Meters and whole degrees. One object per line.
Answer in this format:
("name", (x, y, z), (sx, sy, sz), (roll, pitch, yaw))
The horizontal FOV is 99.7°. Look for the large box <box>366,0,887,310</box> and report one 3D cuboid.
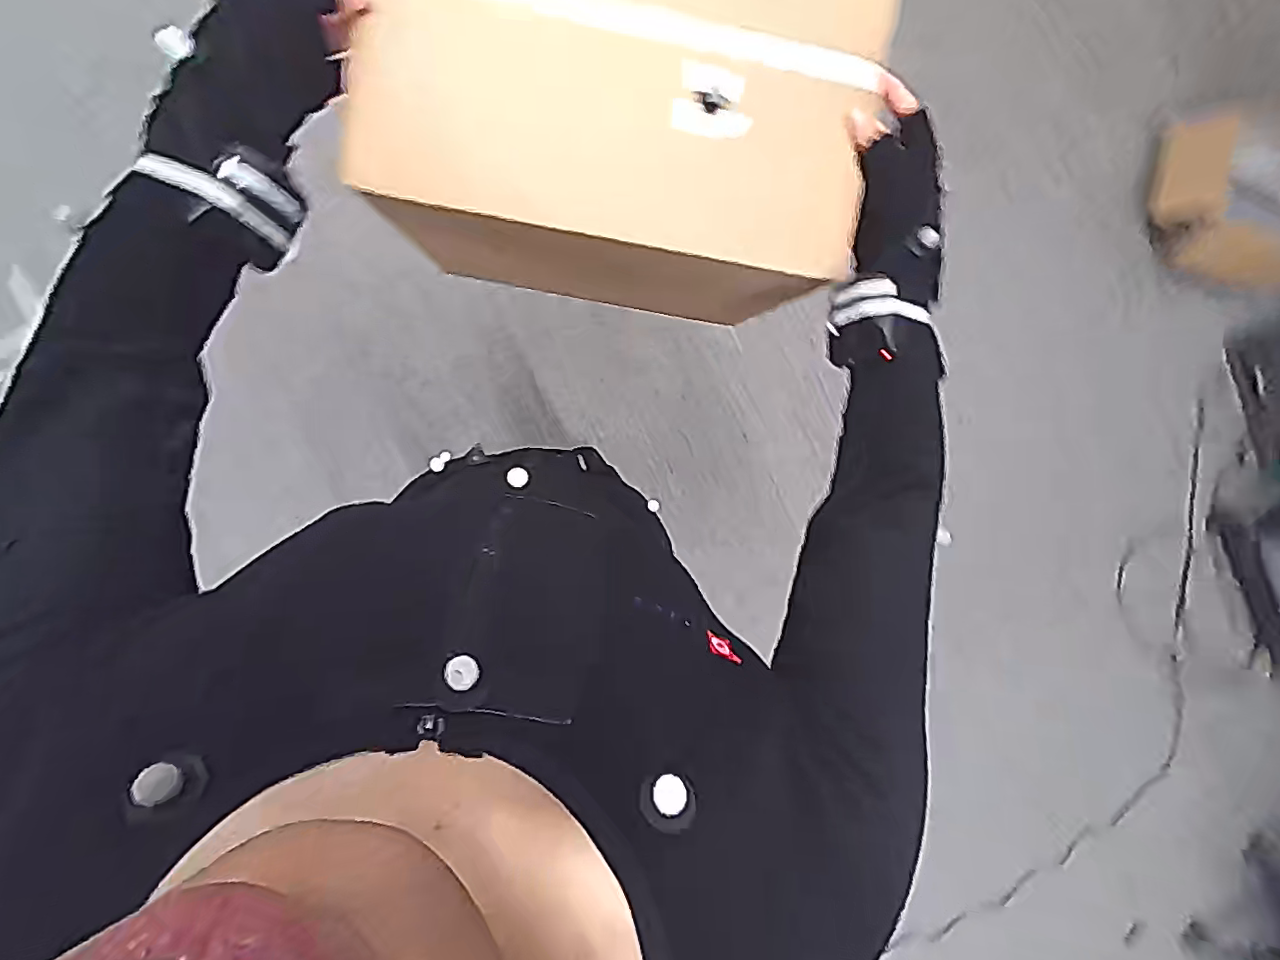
("large box", (-0.021, -0.382, 0.568), (0.408, 0.320, 0.320), (6, 99, -8))
